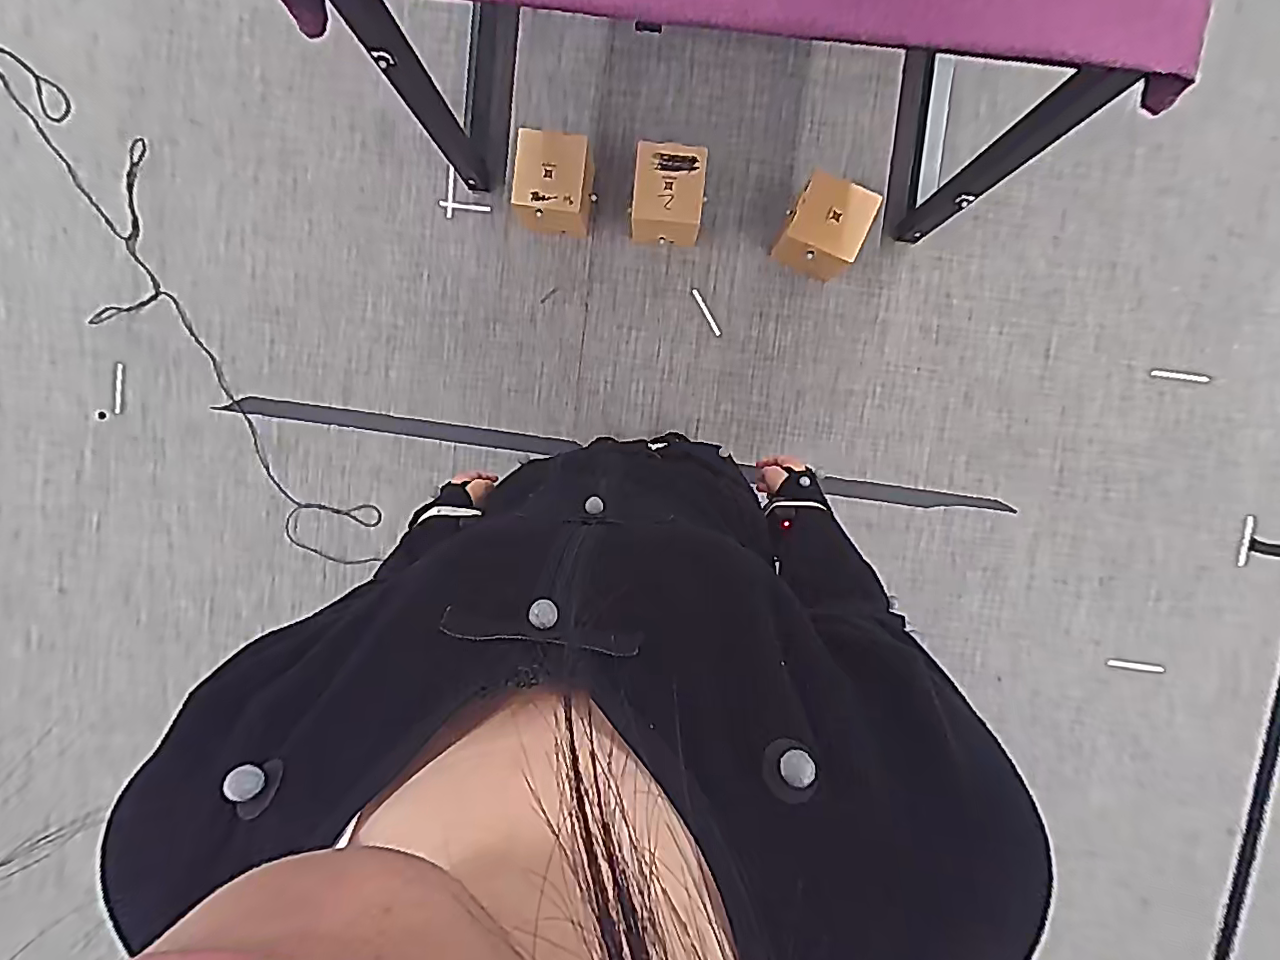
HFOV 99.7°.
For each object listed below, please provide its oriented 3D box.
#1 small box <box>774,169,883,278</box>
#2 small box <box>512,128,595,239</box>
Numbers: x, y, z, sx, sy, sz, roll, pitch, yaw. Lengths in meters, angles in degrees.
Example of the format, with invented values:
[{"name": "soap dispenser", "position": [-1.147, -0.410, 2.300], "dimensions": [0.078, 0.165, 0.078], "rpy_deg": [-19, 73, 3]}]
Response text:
[{"name": "small box", "position": [0.458, -0.624, 1.343], "dimensions": [0.179, 0.176, 0.168], "rpy_deg": [24, 96, 0]}, {"name": "small box", "position": [-0.208, -0.729, 1.345], "dimensions": [0.168, 0.176, 0.179], "rpy_deg": [9, 94, 0]}]
